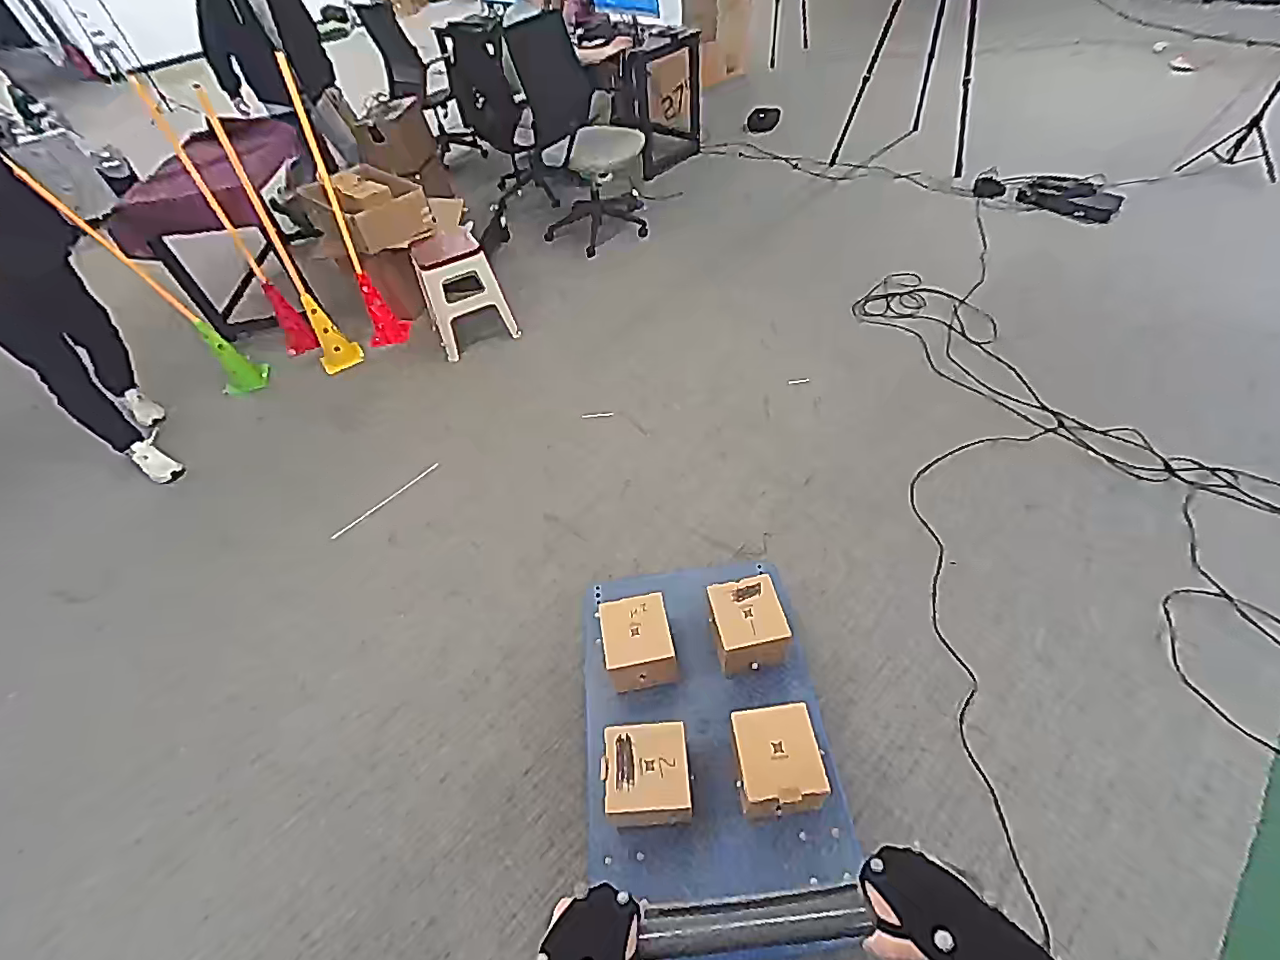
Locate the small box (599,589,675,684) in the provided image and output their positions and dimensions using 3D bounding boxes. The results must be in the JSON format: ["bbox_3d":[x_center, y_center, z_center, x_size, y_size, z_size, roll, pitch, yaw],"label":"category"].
[{"bbox_3d":[-0.005,0.406,1.380,0.168,0.176,0.179,-10,50,-3],"label":"small box"}]

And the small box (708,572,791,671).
[{"bbox_3d":[0.271,0.363,1.384,0.168,0.176,0.179,-11,51,-2],"label":"small box"}]

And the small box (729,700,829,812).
[{"bbox_3d":[0.293,0.604,1.182,0.168,0.176,0.179,-8,50,0],"label":"small box"}]
